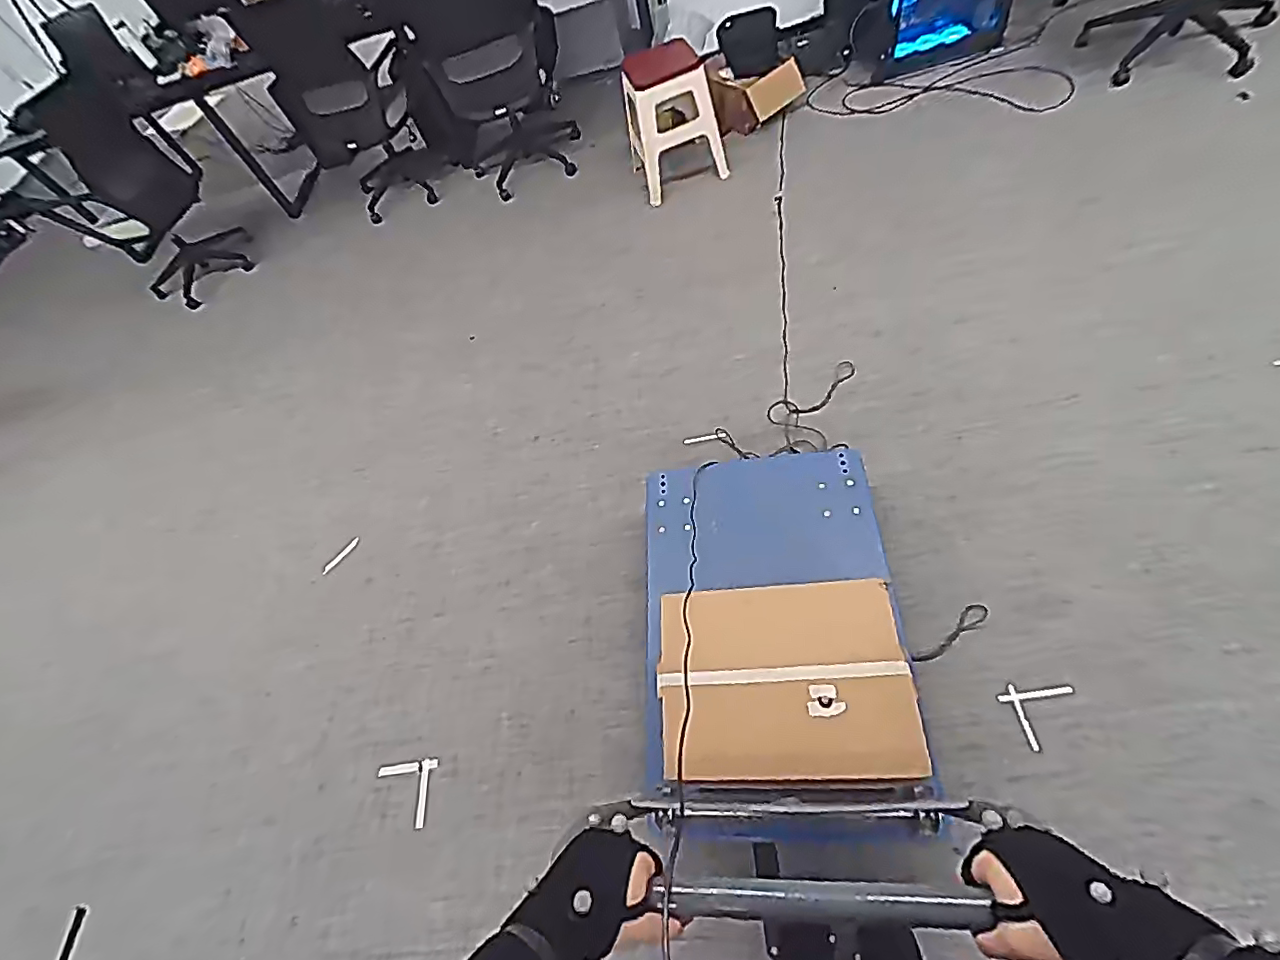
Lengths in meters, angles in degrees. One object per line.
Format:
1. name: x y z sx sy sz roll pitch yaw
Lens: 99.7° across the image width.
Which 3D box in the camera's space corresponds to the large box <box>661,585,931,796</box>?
1. large box: 0.264 0.413 1.026 0.408 0.320 0.320 -6 58 11
